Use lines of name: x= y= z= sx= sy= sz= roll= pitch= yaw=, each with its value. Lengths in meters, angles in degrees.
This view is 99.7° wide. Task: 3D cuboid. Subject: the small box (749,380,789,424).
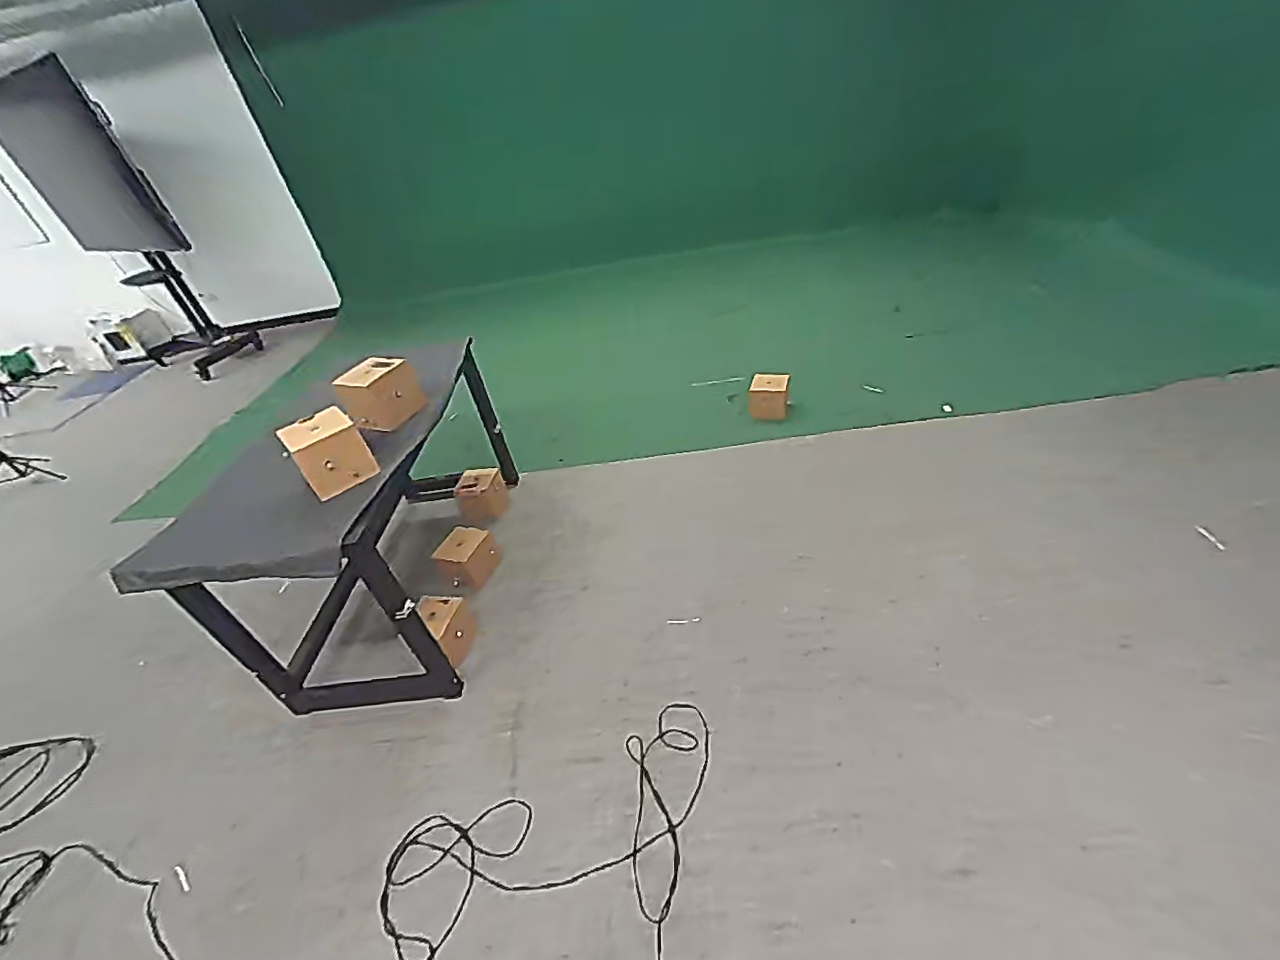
small box: x=0.660 y=-0.395 z=2.745 sx=0.179 sy=0.176 sz=0.168 roll=5 pitch=40 yaw=20

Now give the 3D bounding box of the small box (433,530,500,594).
small box: x=-0.678 y=0.324 z=2.147 sx=0.168 sy=0.176 sz=0.179 roll=5 pitch=41 yaw=21

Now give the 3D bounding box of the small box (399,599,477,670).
small box: x=-0.689 y=0.537 z=1.873 sx=0.168 sy=0.176 sz=0.179 roll=0 pitch=39 yaw=14

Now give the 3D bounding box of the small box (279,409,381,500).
small box: x=-0.849 y=-0.067 z=1.492 sx=0.168 sy=0.176 sz=0.179 roll=-35 pitch=43 yaw=-28

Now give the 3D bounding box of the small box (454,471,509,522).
small box: x=-0.718 y=0.082 z=2.471 sx=0.168 sy=0.176 sz=0.179 roll=-4 pitch=37 yaw=9
